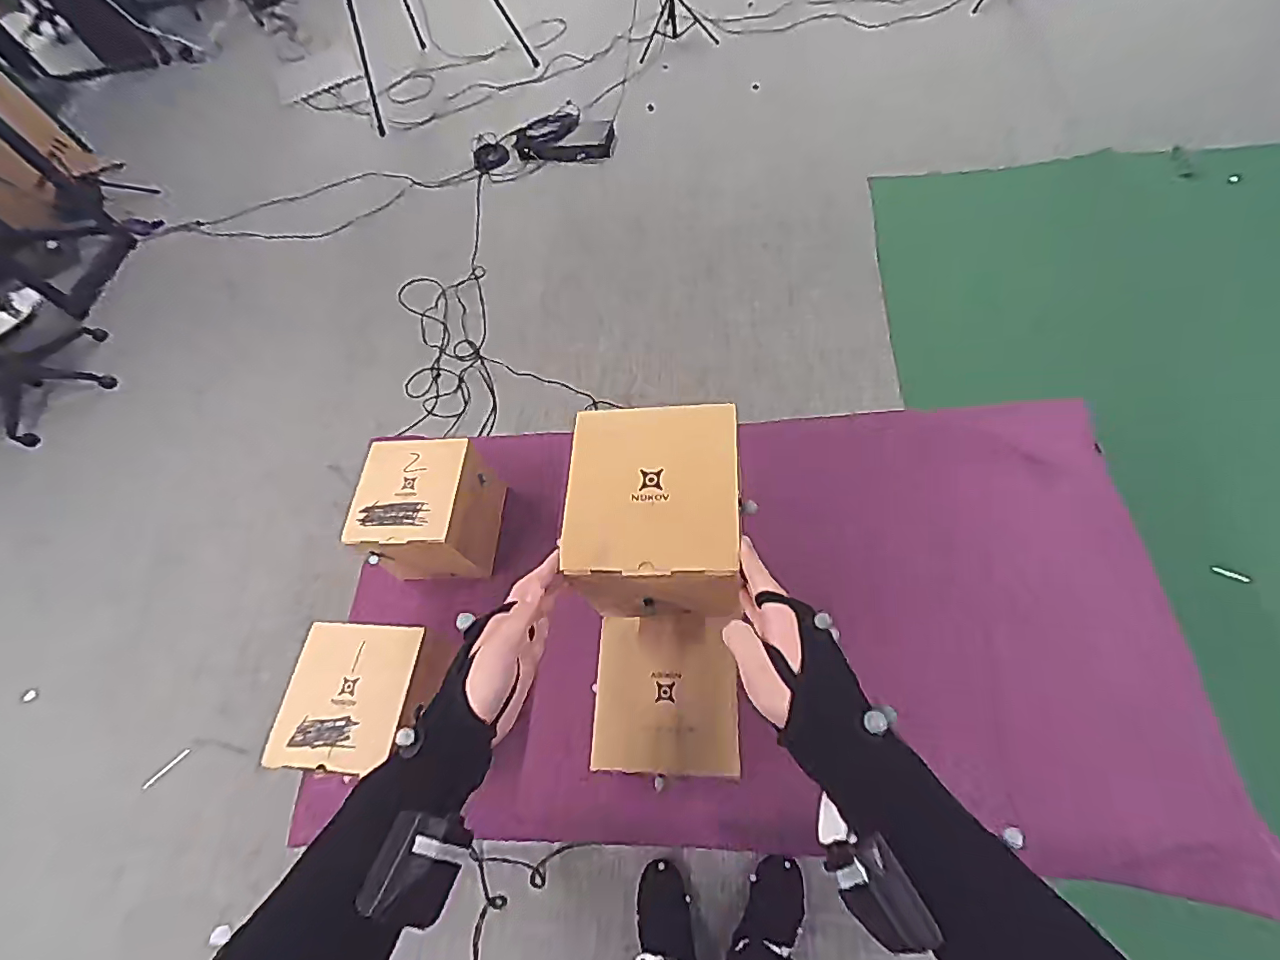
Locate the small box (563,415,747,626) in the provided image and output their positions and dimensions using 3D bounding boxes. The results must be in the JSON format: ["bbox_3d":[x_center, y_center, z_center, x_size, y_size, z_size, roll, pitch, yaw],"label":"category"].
[{"bbox_3d":[0.027,0.049,0.578,0.168,0.176,0.179,-1,64,10],"label":"small box"}]

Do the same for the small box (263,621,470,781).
[{"bbox_3d":[-0.354,0.306,0.742,0.168,0.176,0.179,1,60,9],"label":"small box"}]

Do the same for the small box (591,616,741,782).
[{"bbox_3d":[0.042,0.282,0.695,0.168,0.176,0.179,-2,61,9],"label":"small box"}]
